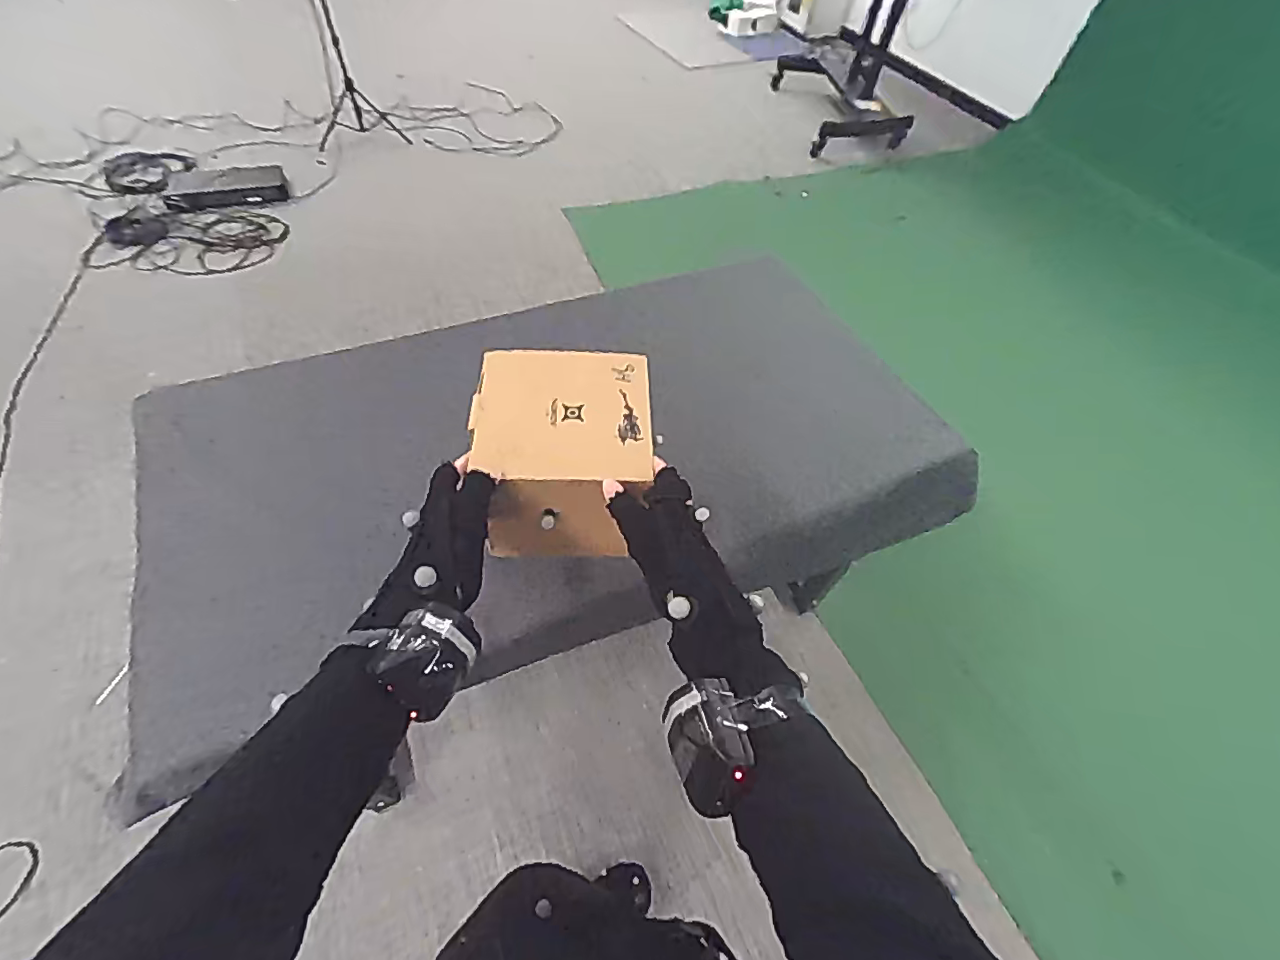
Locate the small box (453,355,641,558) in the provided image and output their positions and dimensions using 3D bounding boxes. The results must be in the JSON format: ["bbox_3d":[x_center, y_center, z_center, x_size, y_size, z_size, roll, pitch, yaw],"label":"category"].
[{"bbox_3d":[-0.092,-0.021,0.606,0.179,0.176,0.168,-1,57,-4],"label":"small box"}]
